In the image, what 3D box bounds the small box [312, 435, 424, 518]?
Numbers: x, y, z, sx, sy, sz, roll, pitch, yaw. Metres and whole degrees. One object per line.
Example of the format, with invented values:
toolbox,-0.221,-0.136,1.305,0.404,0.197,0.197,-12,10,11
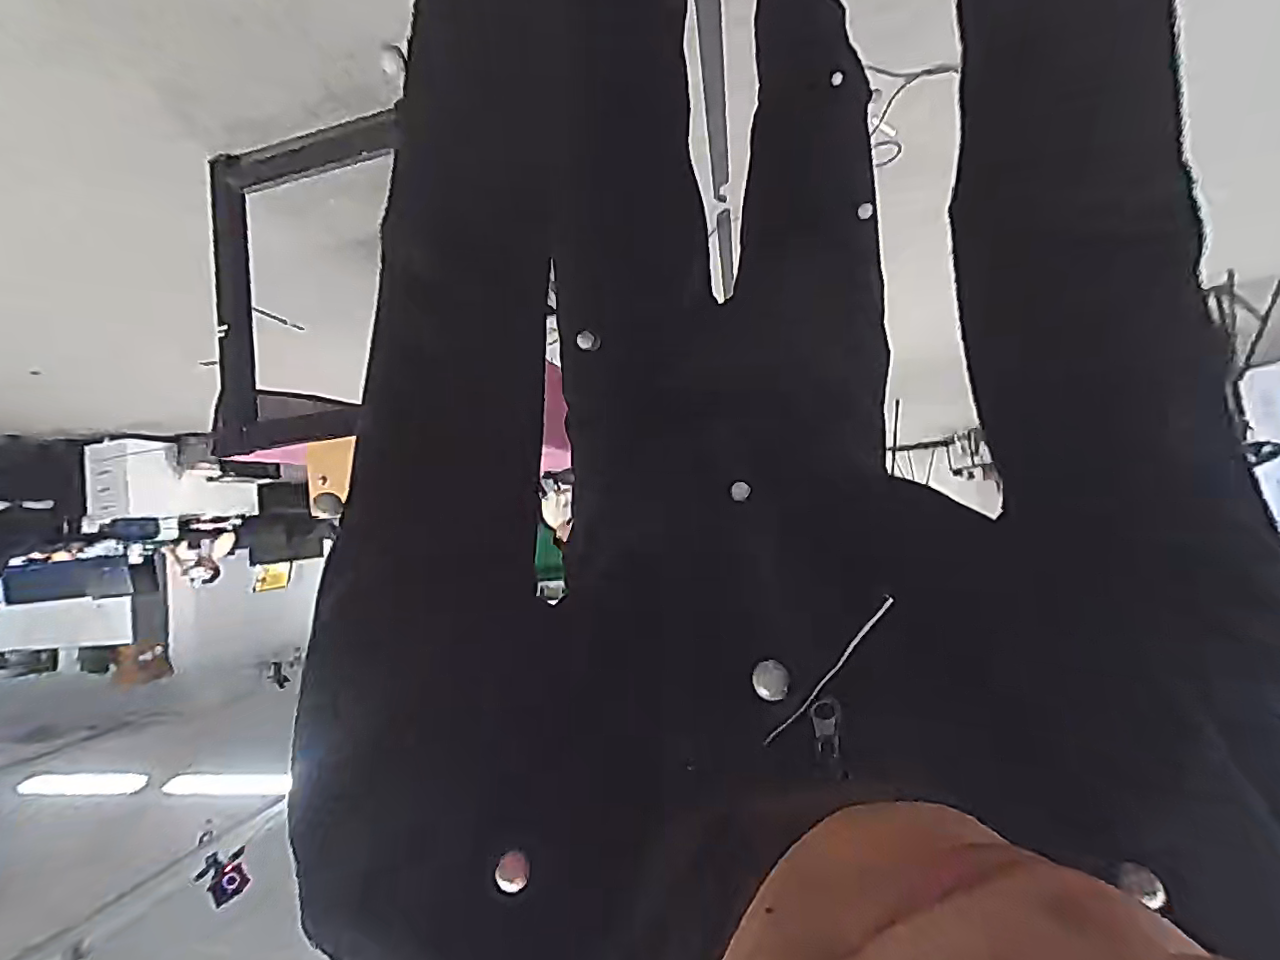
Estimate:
small box,-0.631,-0.006,1.257,0.179,0.176,0.168,-7,178,16
